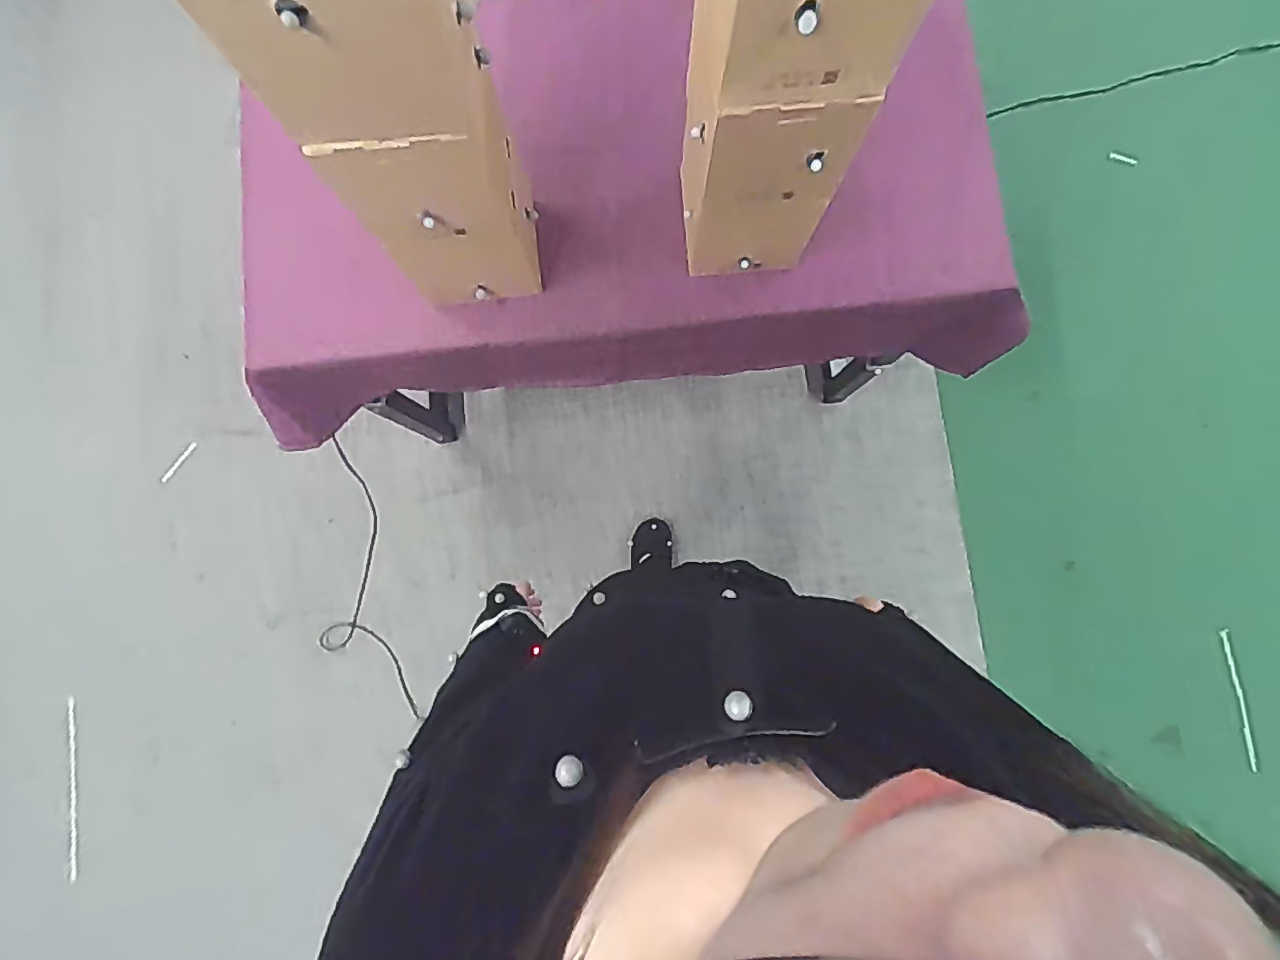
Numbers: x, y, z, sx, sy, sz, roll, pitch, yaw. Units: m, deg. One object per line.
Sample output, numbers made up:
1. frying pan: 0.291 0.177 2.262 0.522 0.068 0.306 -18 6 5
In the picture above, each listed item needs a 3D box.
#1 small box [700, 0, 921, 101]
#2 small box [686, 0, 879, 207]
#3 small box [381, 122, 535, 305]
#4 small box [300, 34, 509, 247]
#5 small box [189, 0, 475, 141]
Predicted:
1. small box: 0.143 -0.456 0.454 0.168 0.176 0.179 -6 83 -1
2. small box: 0.146 -0.436 0.615 0.168 0.176 0.179 -6 83 0
3. small box: -0.252 -0.370 0.776 0.179 0.176 0.168 -8 83 -1
4. small box: -0.254 -0.395 0.613 0.168 0.176 0.179 -6 83 0
5. small box: -0.251 -0.416 0.449 0.179 0.176 0.168 -4 83 -1
